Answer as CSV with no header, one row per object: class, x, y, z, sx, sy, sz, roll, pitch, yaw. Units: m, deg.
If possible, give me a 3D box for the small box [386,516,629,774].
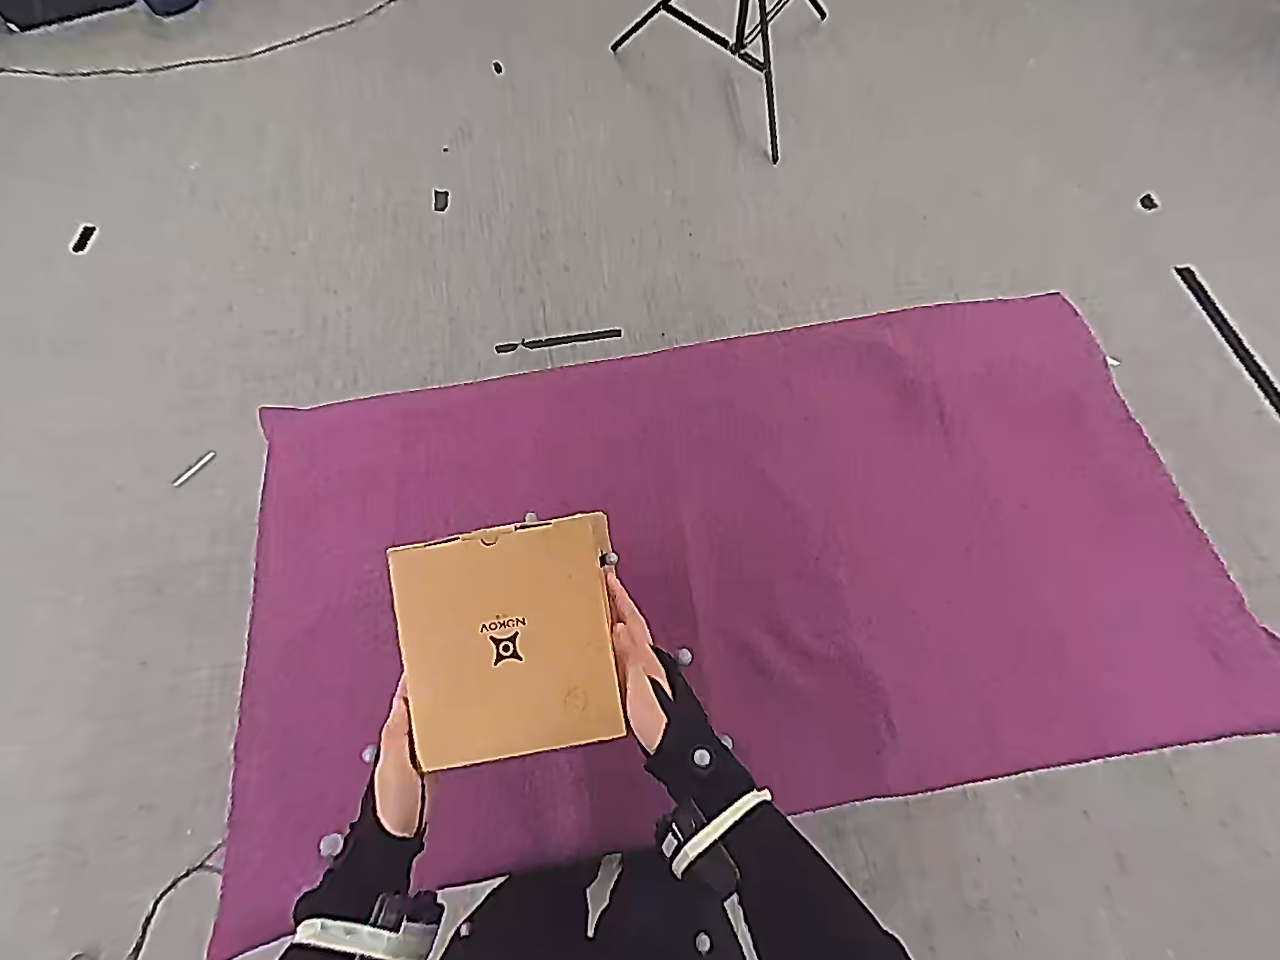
small box,-0.105,0.133,0.500,0.168,0.176,0.179,-10,87,0
